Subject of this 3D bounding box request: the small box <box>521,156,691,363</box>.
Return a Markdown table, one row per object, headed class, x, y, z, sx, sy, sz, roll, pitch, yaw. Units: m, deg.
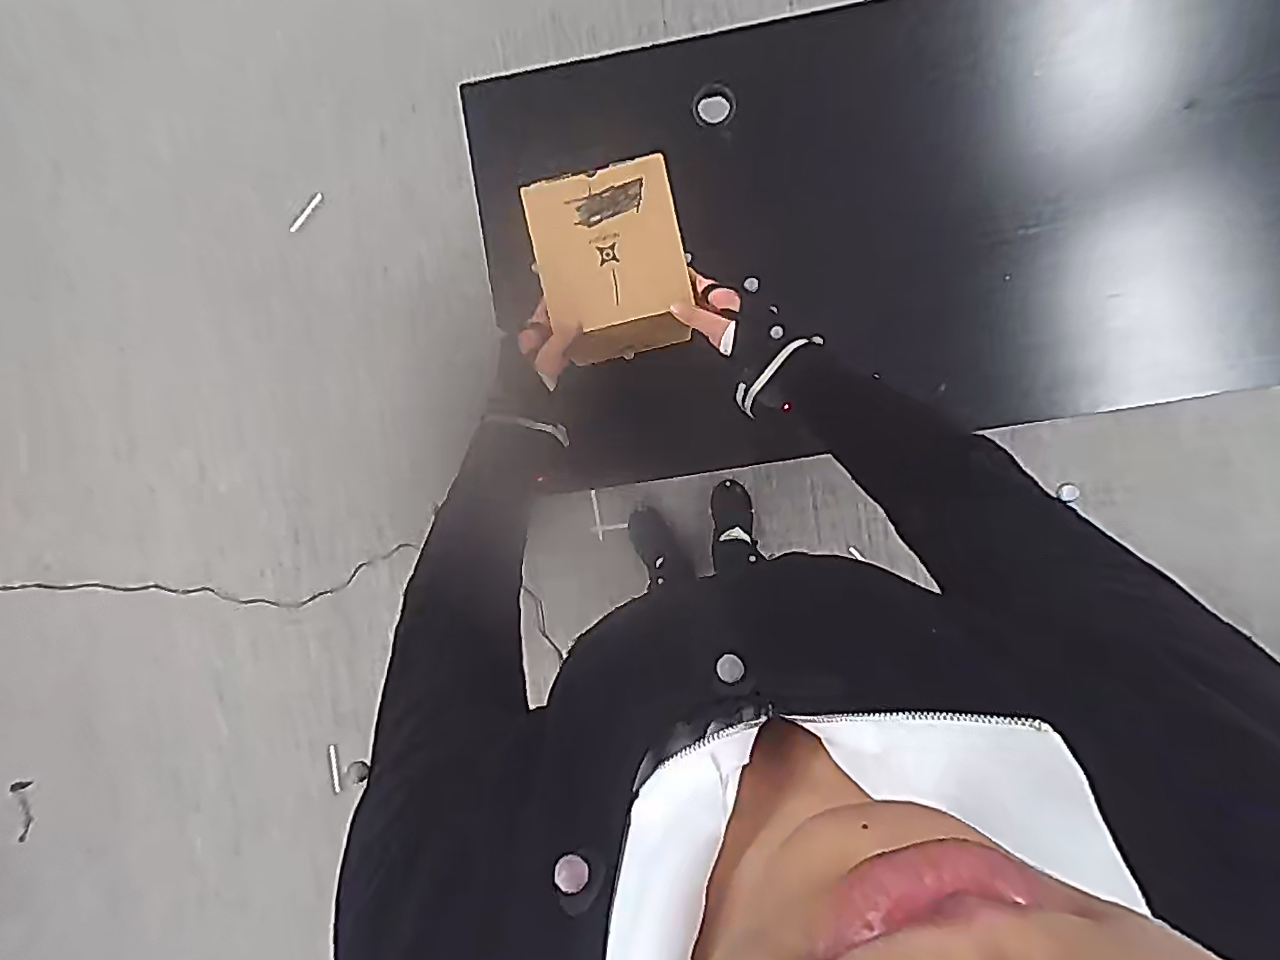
| class | x | y | z | sx | sy | sz | roll | pitch | yaw |
| --- | --- | --- | --- | --- | --- | --- | --- | --- | --- |
| small box | -0.036 | -0.265 | 0.688 | 0.168 | 0.176 | 0.179 | -13 | 92 | 3 |
